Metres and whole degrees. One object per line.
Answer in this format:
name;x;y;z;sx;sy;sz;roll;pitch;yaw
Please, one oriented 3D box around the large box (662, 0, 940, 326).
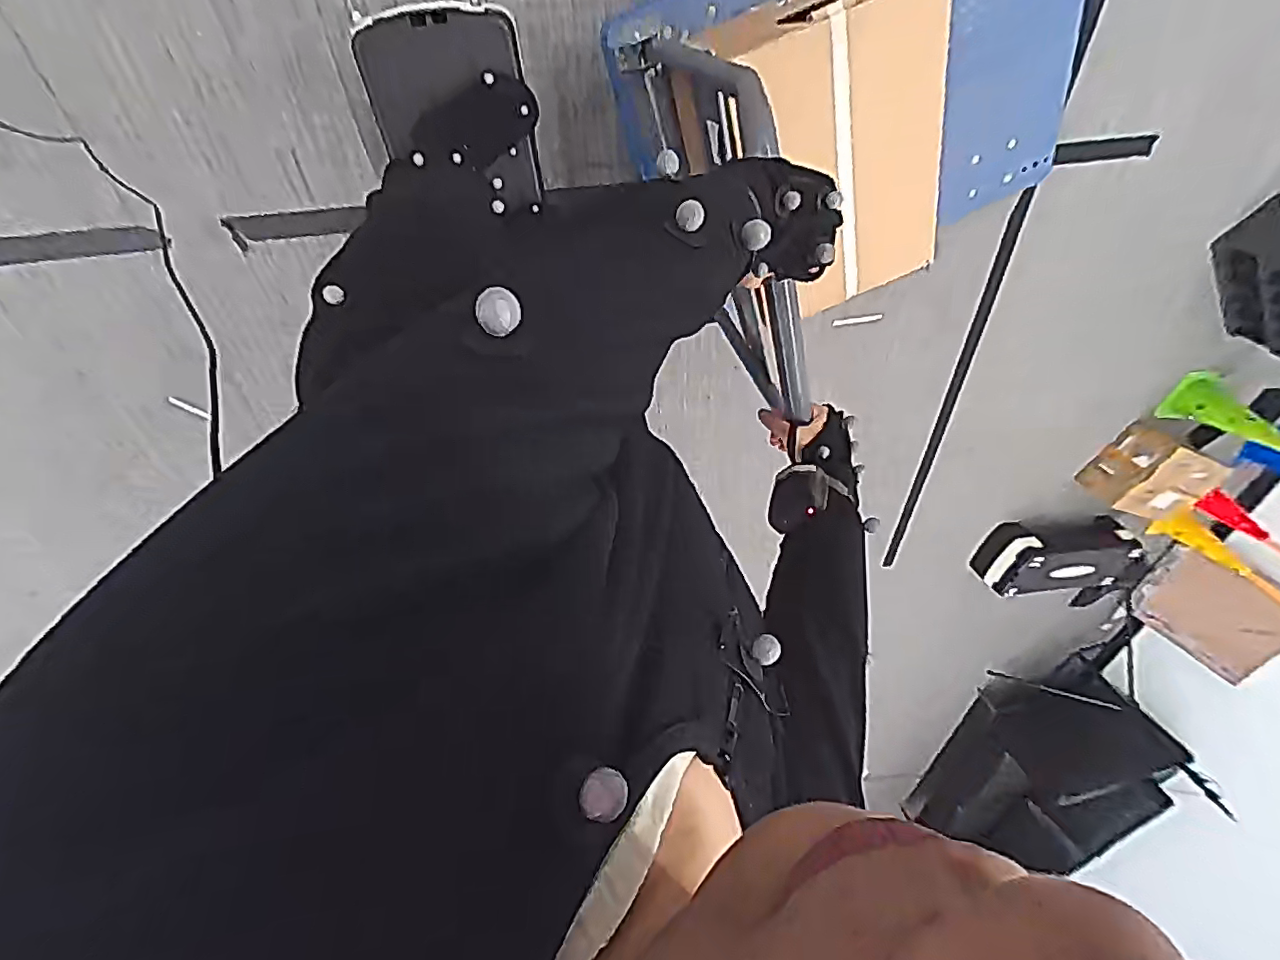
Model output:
large box;0.268;-0.557;0.933;0.320;0.320;0.408;-22;133;3
